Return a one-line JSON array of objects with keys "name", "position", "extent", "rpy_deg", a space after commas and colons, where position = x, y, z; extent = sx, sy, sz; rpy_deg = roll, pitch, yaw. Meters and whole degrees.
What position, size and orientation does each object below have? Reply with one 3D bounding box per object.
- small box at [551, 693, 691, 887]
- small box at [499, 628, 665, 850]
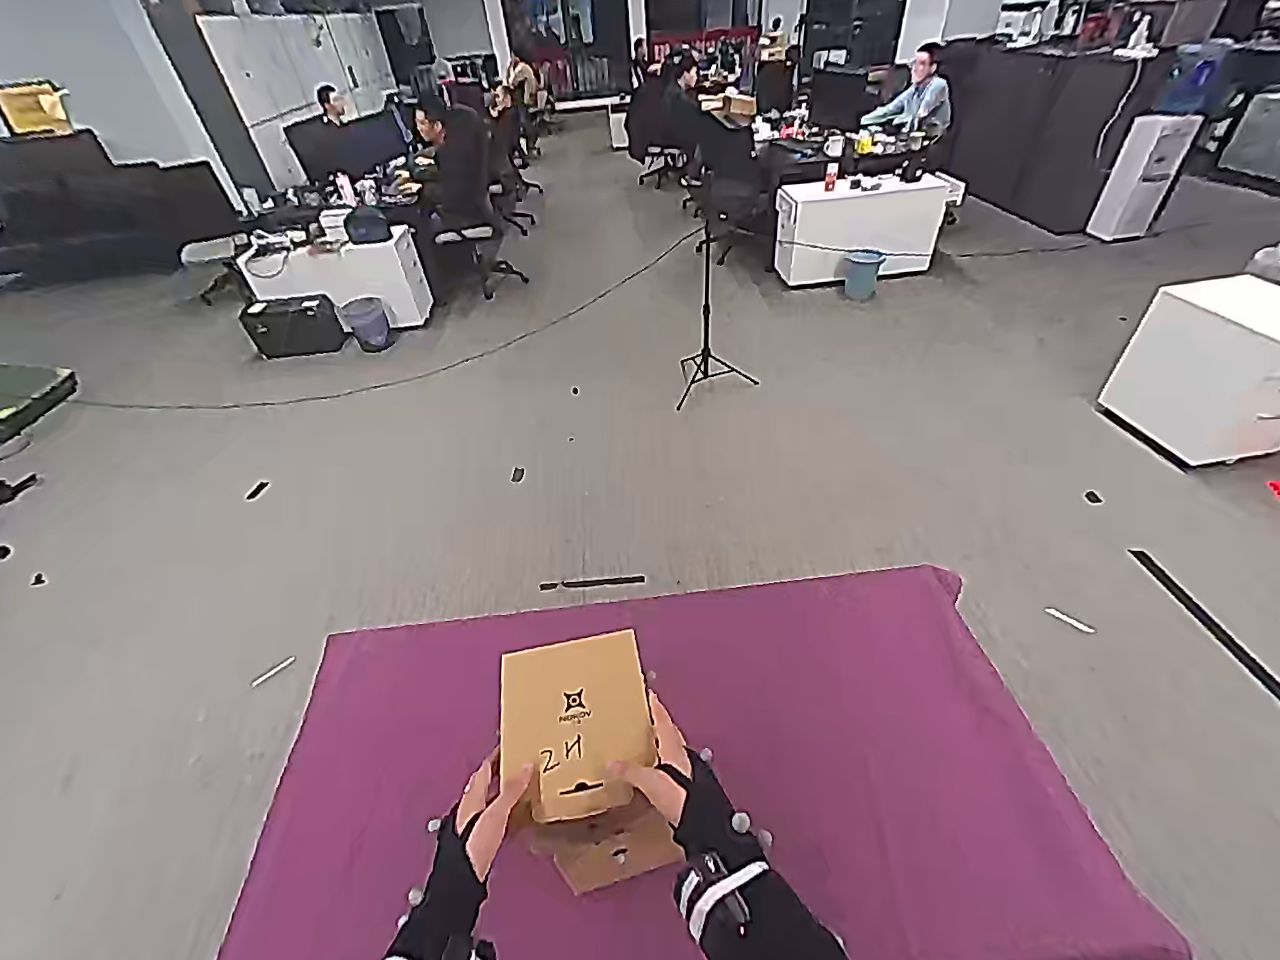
[{"name": "small box", "position": [-0.033, 0.435, 0.759], "extent": [0.179, 0.176, 0.168], "rpy_deg": [-13, 42, -9]}, {"name": "small box", "position": [-0.067, 0.310, 0.654], "extent": [0.168, 0.176, 0.179], "rpy_deg": [-10, 42, -4]}]
